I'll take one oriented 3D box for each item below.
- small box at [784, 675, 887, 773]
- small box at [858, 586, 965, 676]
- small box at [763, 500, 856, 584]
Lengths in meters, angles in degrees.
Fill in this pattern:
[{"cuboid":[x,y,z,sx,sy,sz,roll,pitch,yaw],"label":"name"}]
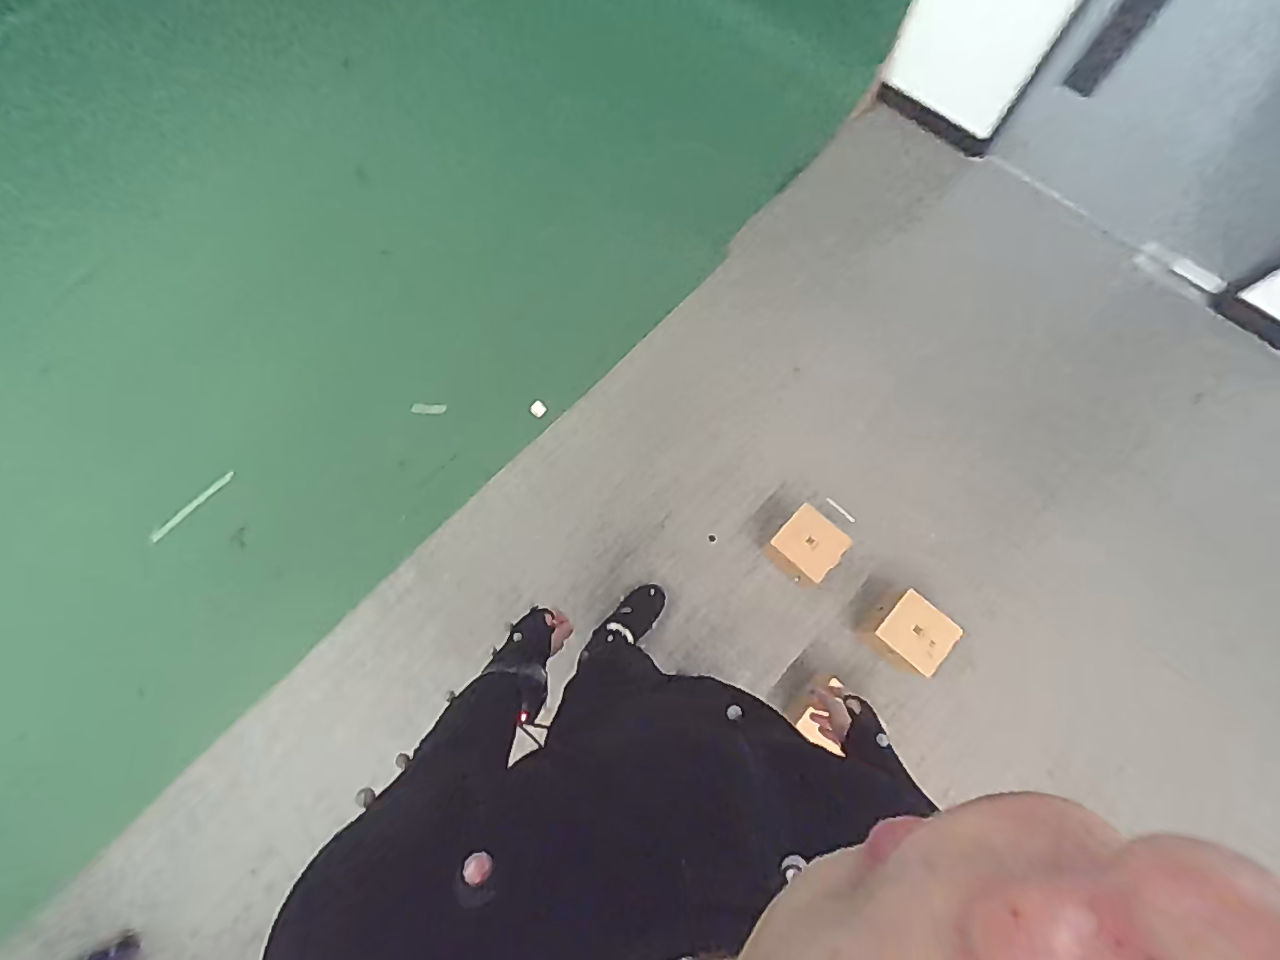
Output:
[{"cuboid":[0.516,0.646,1.458,0.179,0.176,0.168,42,80,11],"label":"small box"},{"cuboid":[0.747,0.422,1.509,0.179,0.176,0.168,42,80,11],"label":"small box"},{"cuboid":[0.486,0.188,1.582,0.179,0.176,0.168,43,79,12],"label":"small box"}]
